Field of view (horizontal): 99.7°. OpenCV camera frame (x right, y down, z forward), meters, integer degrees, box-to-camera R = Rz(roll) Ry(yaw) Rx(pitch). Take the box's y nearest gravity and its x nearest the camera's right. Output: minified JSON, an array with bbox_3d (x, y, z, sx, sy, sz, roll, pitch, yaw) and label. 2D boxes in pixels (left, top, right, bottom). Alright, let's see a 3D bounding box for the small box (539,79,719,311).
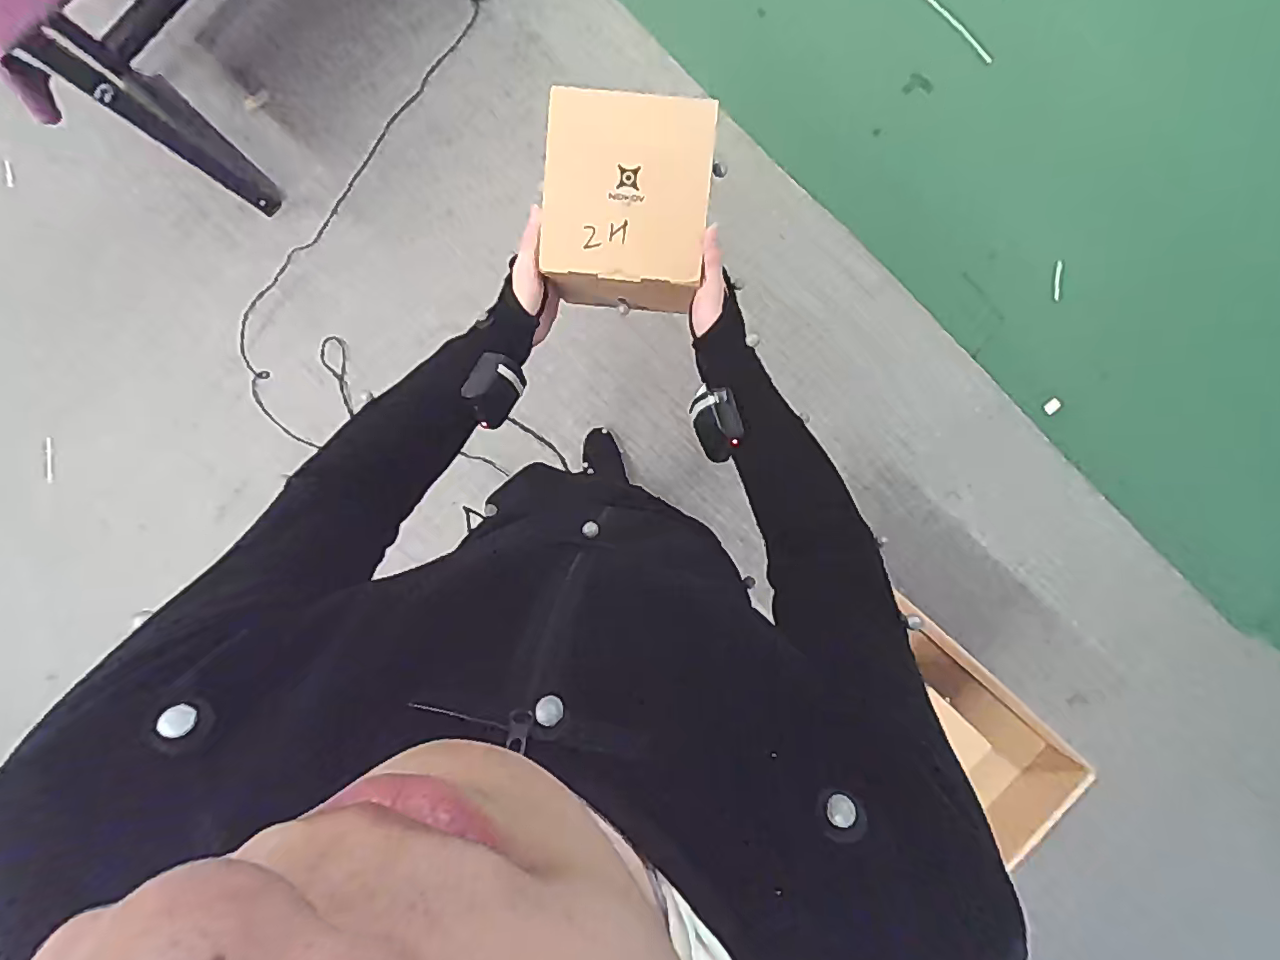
[{"bbox_3d":[-0.011,-0.300,0.605,0.168,0.176,0.179,5,97,1],"label":"small box"}]
